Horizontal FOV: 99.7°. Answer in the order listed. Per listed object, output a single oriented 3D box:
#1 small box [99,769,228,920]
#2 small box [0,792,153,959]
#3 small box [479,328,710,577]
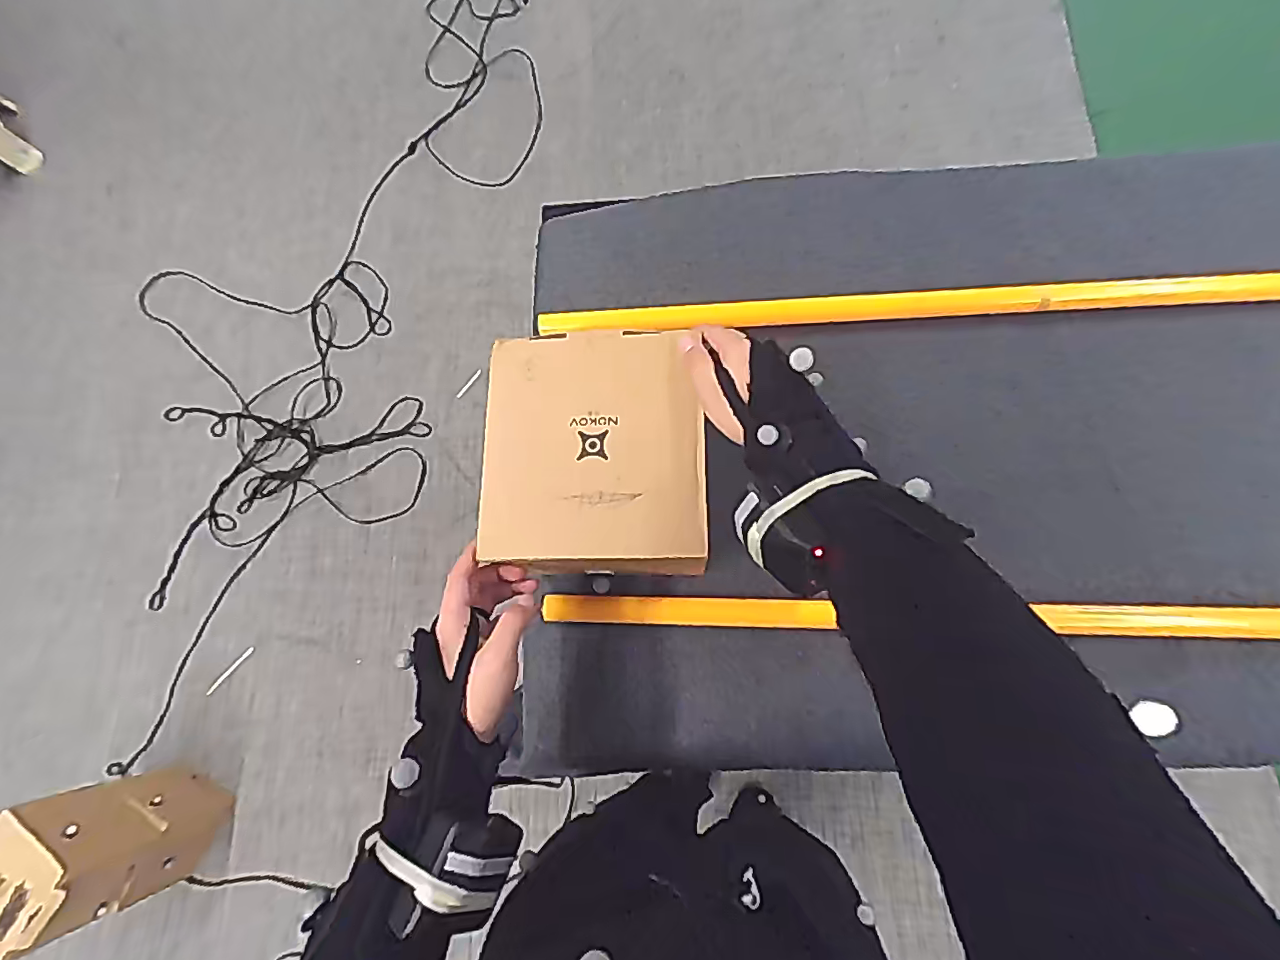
[{"bbox_3d":[-1.017,0.739,1.119,0.168,0.176,0.179,24,78,11],"label":"small box"},{"bbox_3d":[-1.043,0.695,0.962,0.179,0.176,0.168,29,79,13],"label":"small box"},{"bbox_3d":[-0.026,-0.010,0.474,0.168,0.176,0.179,-2,76,6],"label":"small box"}]
